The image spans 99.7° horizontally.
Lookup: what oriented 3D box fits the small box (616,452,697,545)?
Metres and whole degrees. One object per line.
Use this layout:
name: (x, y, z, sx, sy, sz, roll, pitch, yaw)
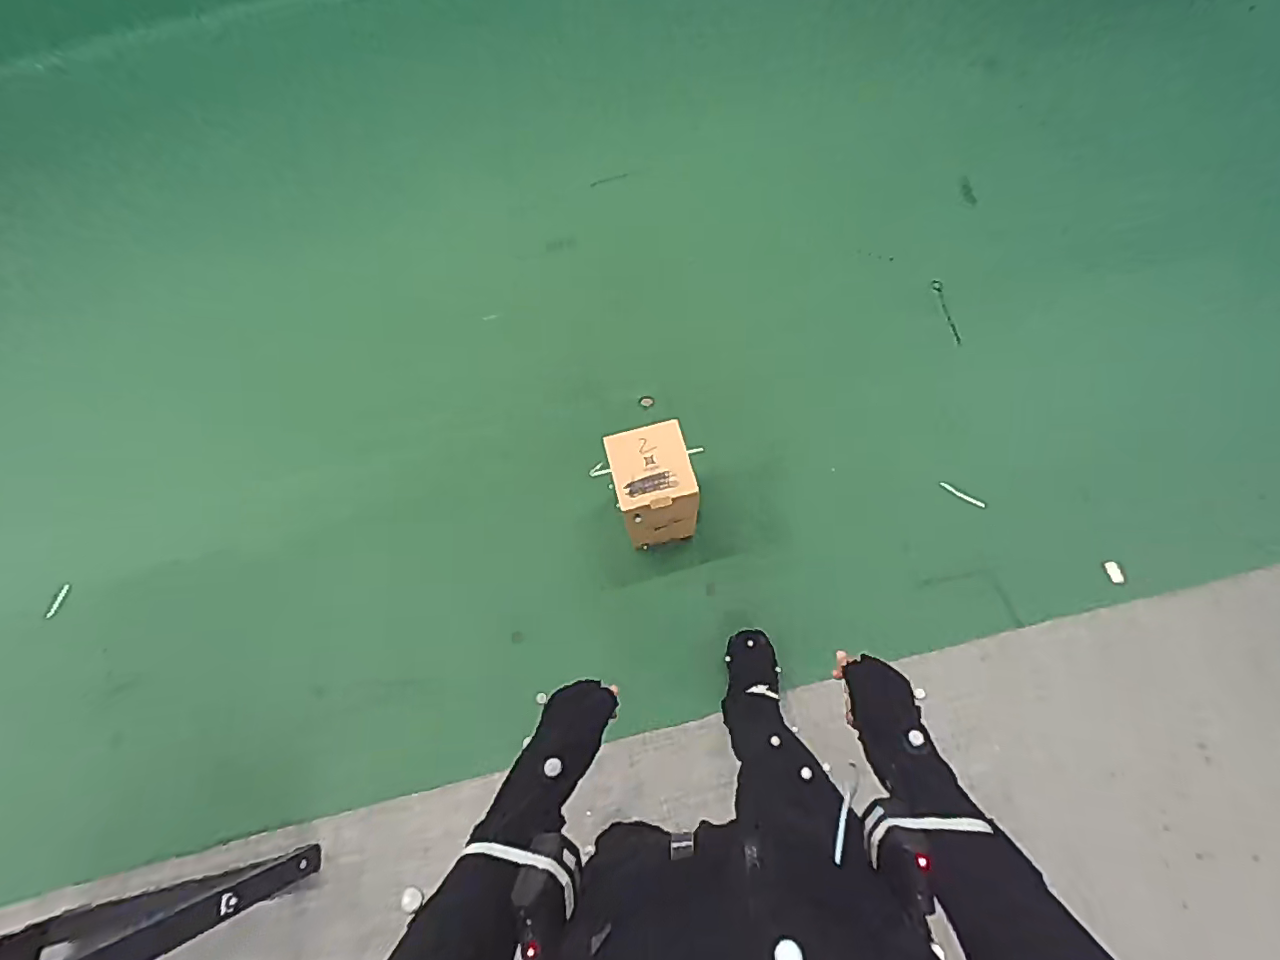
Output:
small box: (0.044, 0.056, 1.357, 0.168, 0.176, 0.179, -13, 69, -1)
